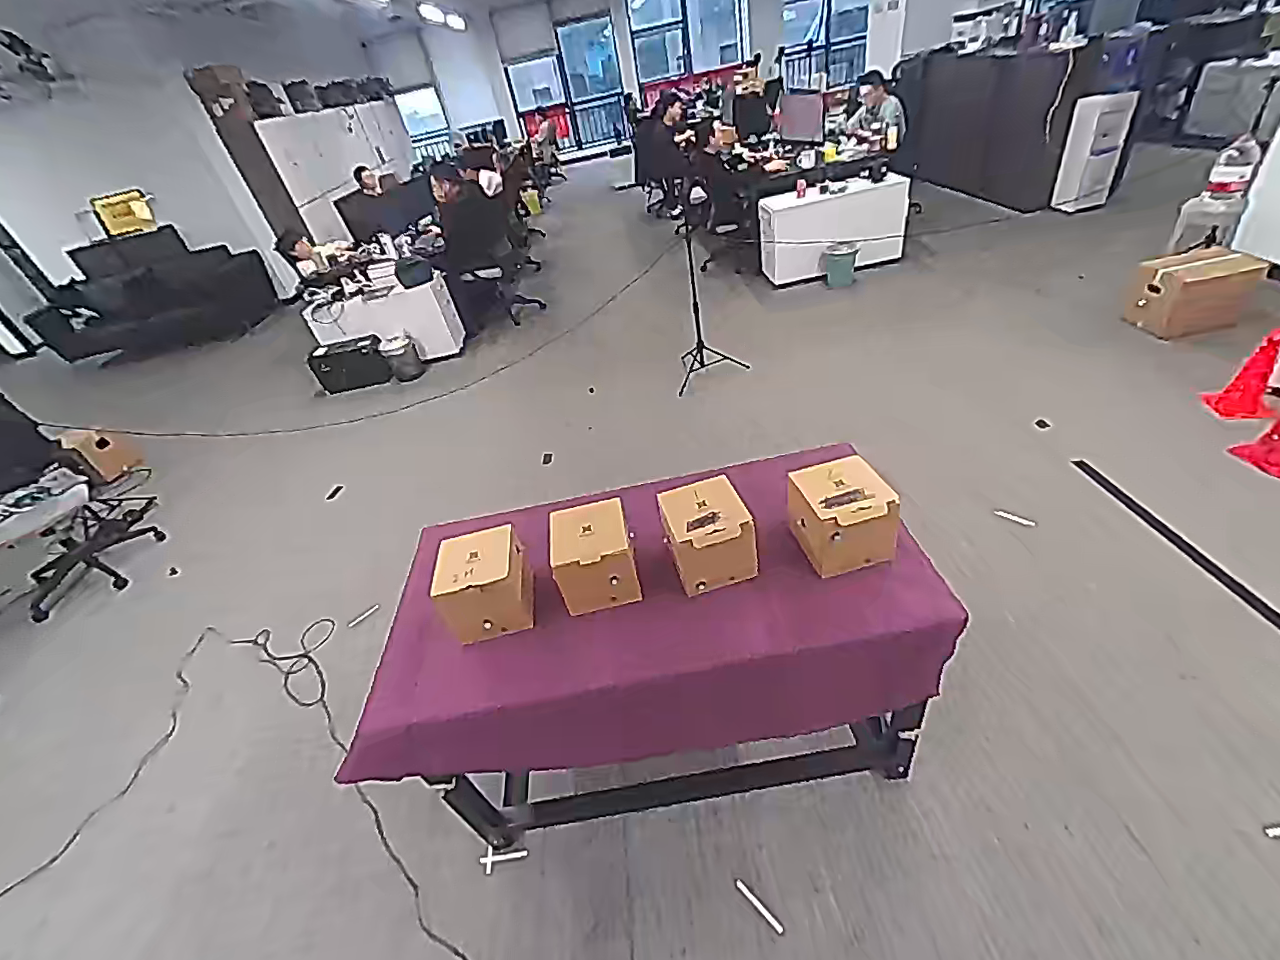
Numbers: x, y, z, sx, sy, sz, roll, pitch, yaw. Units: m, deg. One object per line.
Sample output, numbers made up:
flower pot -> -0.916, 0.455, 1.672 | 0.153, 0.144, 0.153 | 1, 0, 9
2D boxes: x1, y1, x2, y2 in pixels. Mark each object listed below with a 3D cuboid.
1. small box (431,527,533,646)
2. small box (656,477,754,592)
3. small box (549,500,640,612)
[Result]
small box -> -0.344, 0.239, 1.214 | 0.168, 0.176, 0.179 | -15, 37, 0
small box -> 0.146, 0.127, 1.207 | 0.168, 0.176, 0.179 | -16, 37, -4
small box -> -0.102, 0.178, 1.221 | 0.168, 0.176, 0.179 | -13, 37, 0
